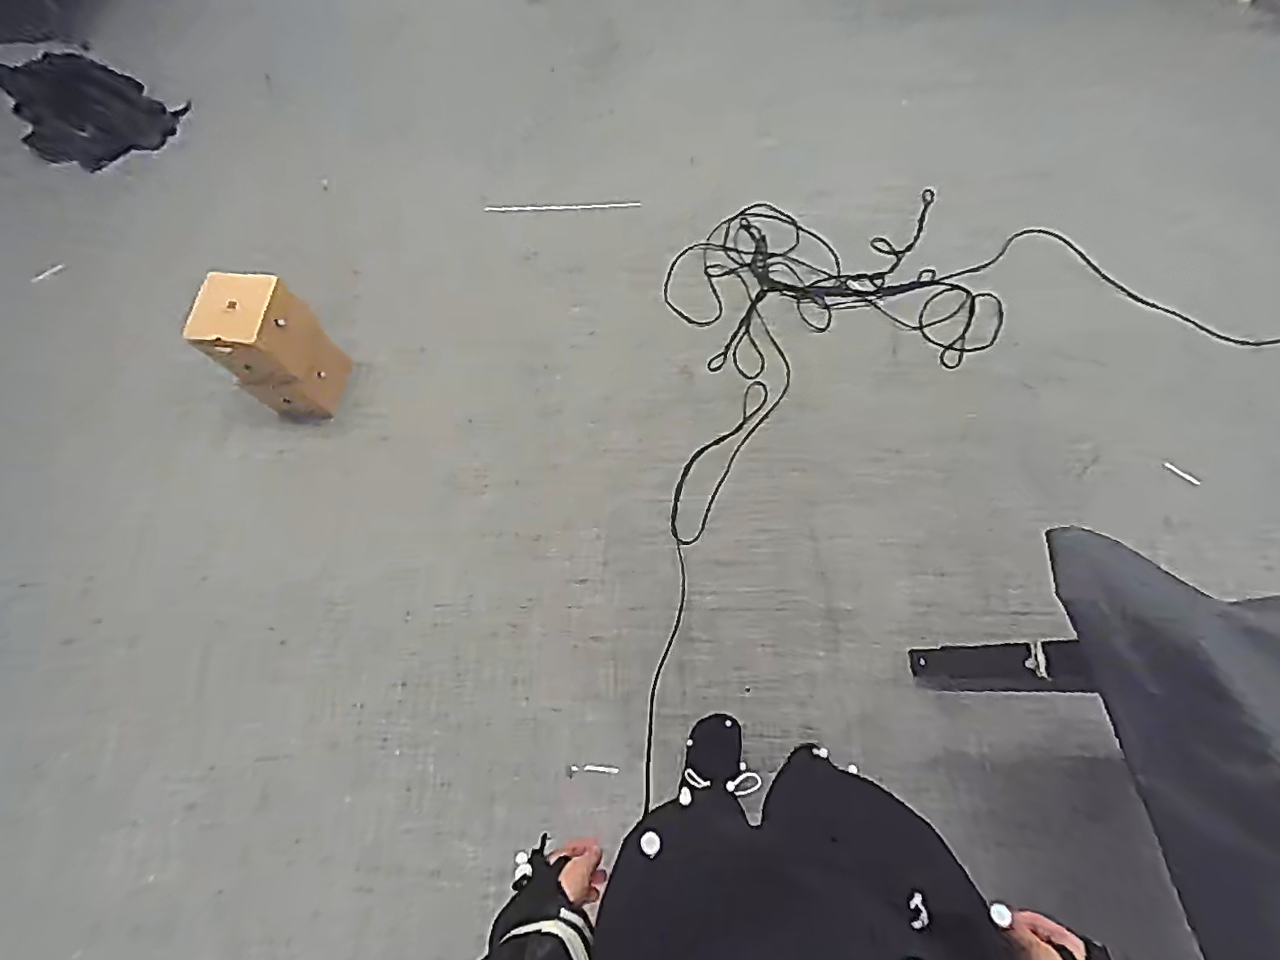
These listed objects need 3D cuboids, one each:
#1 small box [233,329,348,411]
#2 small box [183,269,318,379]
[{"bbox_3d":[-0.888,-0.291,1.394,0.168,0.176,0.179,4,72,3],"label":"small box"},{"bbox_3d":[-0.880,-0.355,1.243,0.168,0.176,0.179,4,72,3],"label":"small box"}]
